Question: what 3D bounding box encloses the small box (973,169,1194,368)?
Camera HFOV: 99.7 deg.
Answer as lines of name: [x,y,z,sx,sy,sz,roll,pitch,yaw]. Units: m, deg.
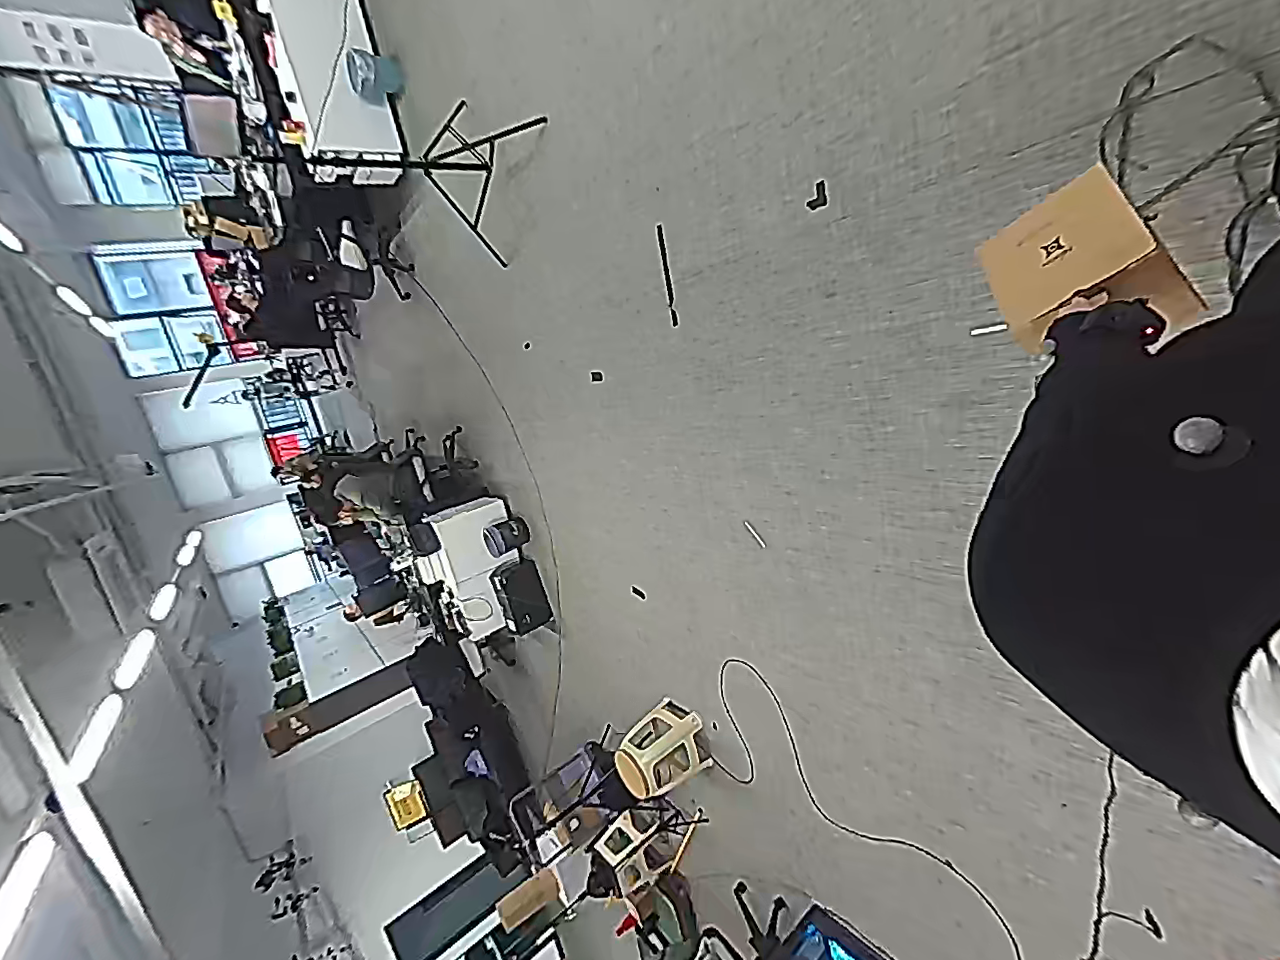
small box: [0.615,-0.279,0.759,0.168,0.176,0.179,-35,46,46]
